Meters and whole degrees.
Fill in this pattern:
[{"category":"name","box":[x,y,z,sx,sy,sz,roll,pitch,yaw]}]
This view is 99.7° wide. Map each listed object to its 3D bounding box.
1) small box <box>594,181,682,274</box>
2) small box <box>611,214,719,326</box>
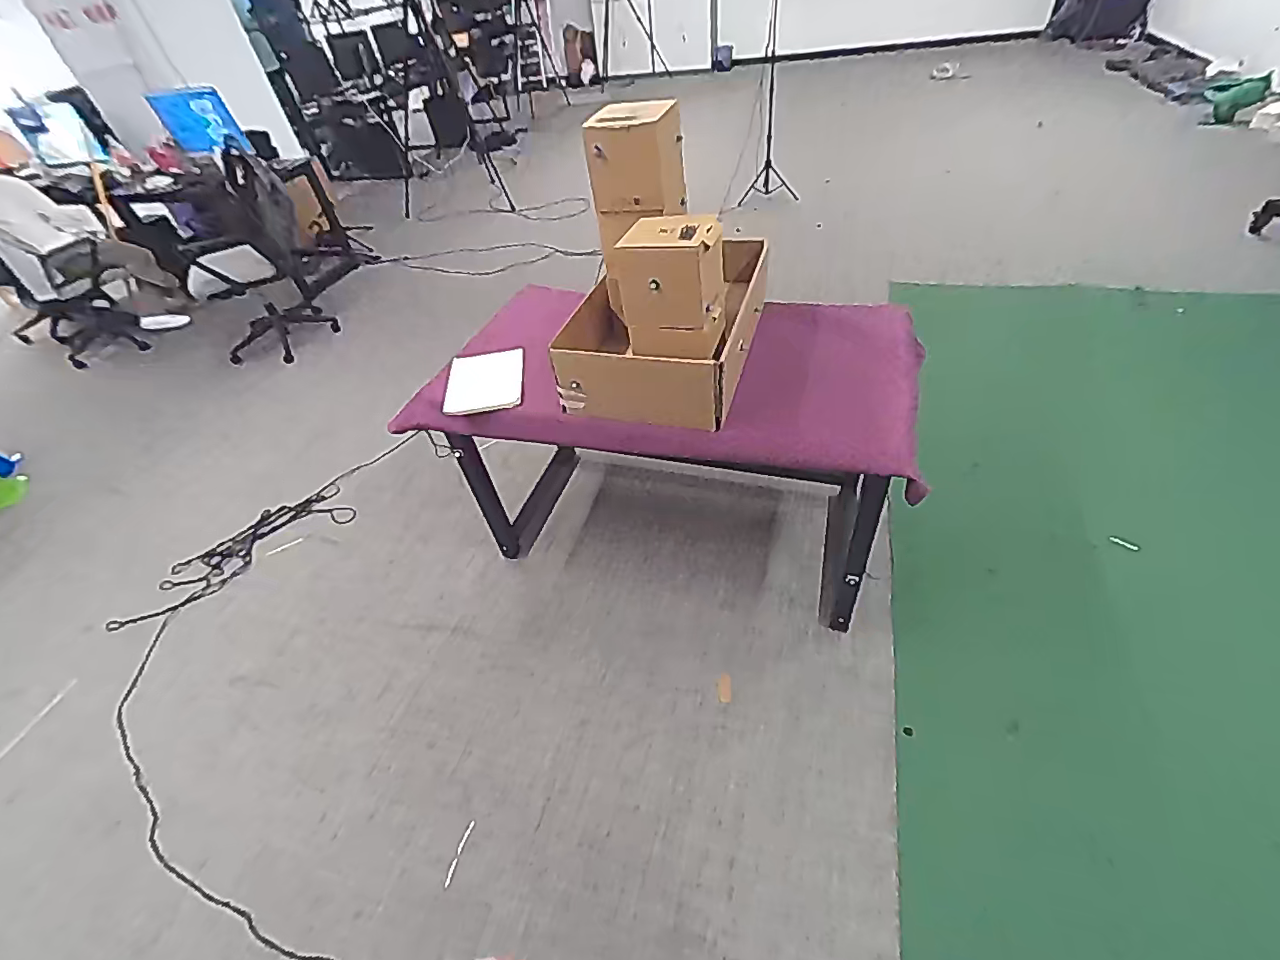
[{"category":"small box","box":[0.009,-0.608,1.319,0.168,0.176,0.179,10,49,19]},{"category":"small box","box":[0.062,-0.435,1.126,0.179,0.176,0.168,8,46,21]}]
